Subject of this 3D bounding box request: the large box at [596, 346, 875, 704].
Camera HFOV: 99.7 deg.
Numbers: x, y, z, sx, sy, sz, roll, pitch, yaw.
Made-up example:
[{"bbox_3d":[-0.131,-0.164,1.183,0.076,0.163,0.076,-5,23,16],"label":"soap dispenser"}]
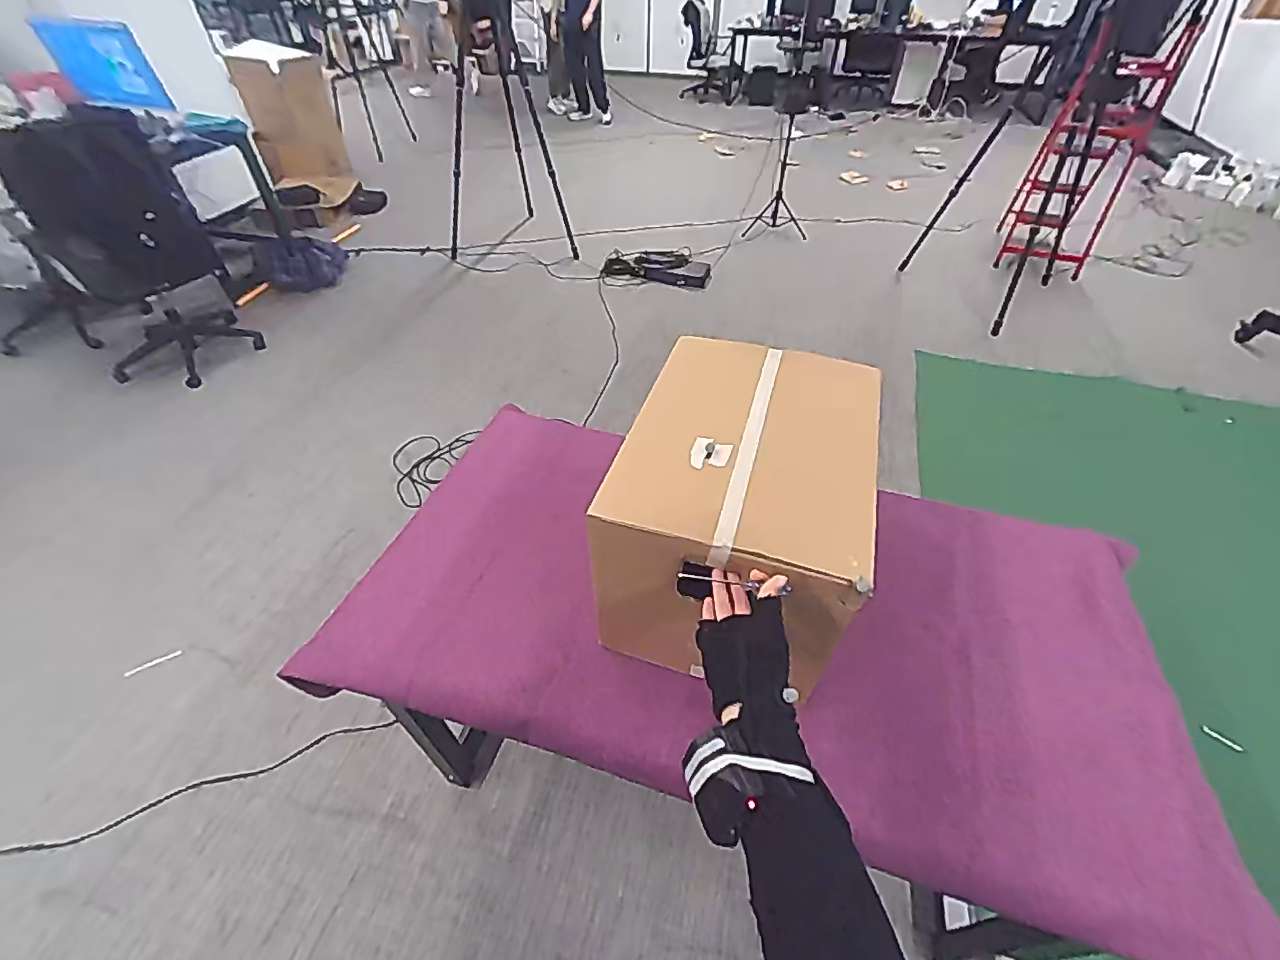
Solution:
[{"bbox_3d":[0.148,0.054,0.831,0.320,0.320,0.408,14,48,13],"label":"large box"}]
